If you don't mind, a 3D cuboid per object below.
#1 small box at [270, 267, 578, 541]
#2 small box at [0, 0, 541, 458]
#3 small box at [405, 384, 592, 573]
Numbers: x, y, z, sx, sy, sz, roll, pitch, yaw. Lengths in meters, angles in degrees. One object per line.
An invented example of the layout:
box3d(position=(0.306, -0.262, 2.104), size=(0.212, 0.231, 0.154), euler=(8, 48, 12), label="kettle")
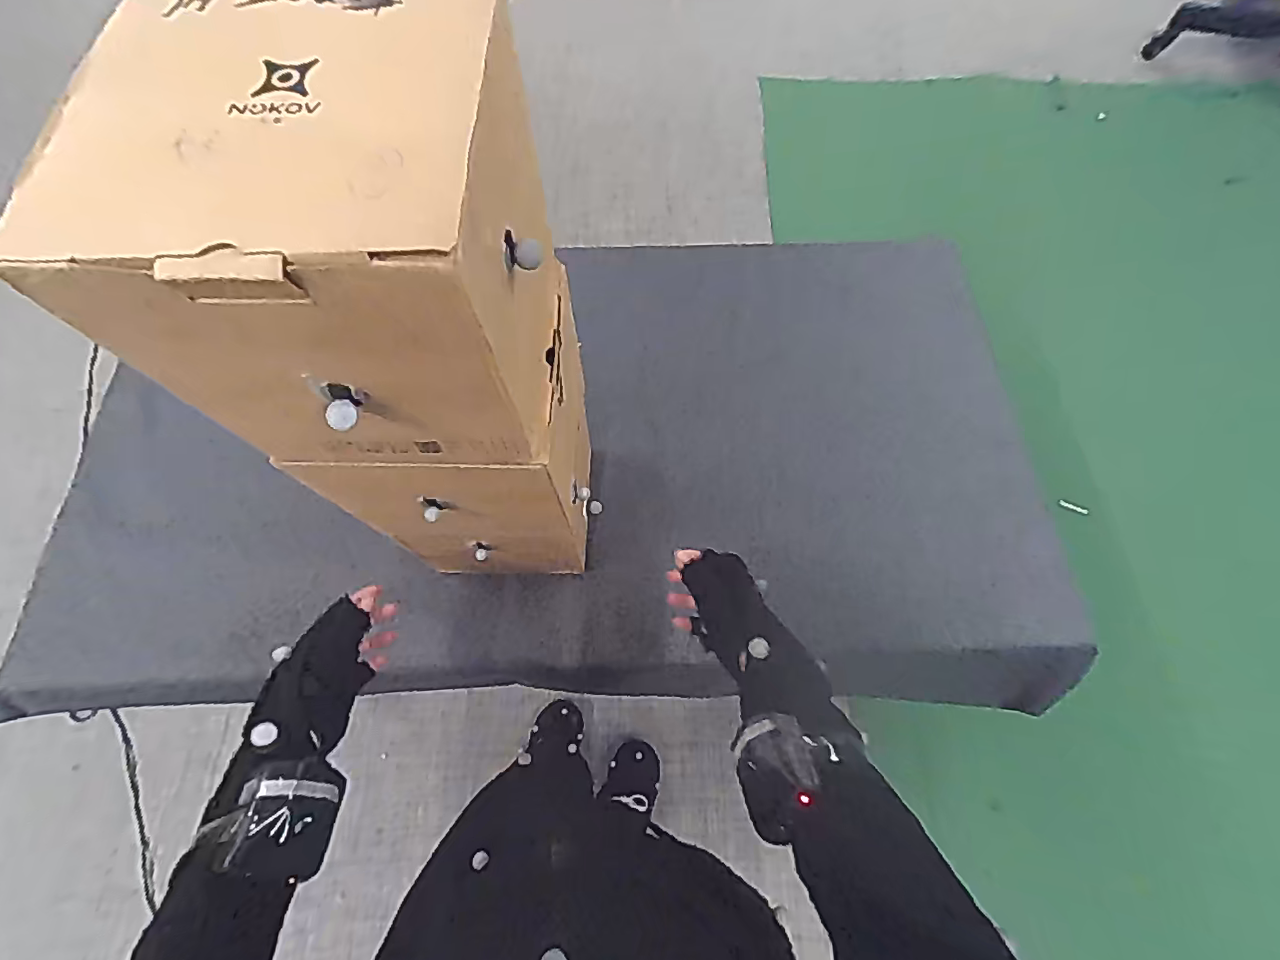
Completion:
box3d(position=(-0.147, -0.051, 0.444), size=(0.179, 0.176, 0.168), euler=(-1, 68, 1), label="small box")
box3d(position=(-0.152, -0.118, 0.294), size=(0.168, 0.176, 0.179), euler=(-1, 69, 0), label="small box")
box3d(position=(-0.148, 0.006, 0.599), size=(0.179, 0.176, 0.168), euler=(-1, 69, -2), label="small box")
